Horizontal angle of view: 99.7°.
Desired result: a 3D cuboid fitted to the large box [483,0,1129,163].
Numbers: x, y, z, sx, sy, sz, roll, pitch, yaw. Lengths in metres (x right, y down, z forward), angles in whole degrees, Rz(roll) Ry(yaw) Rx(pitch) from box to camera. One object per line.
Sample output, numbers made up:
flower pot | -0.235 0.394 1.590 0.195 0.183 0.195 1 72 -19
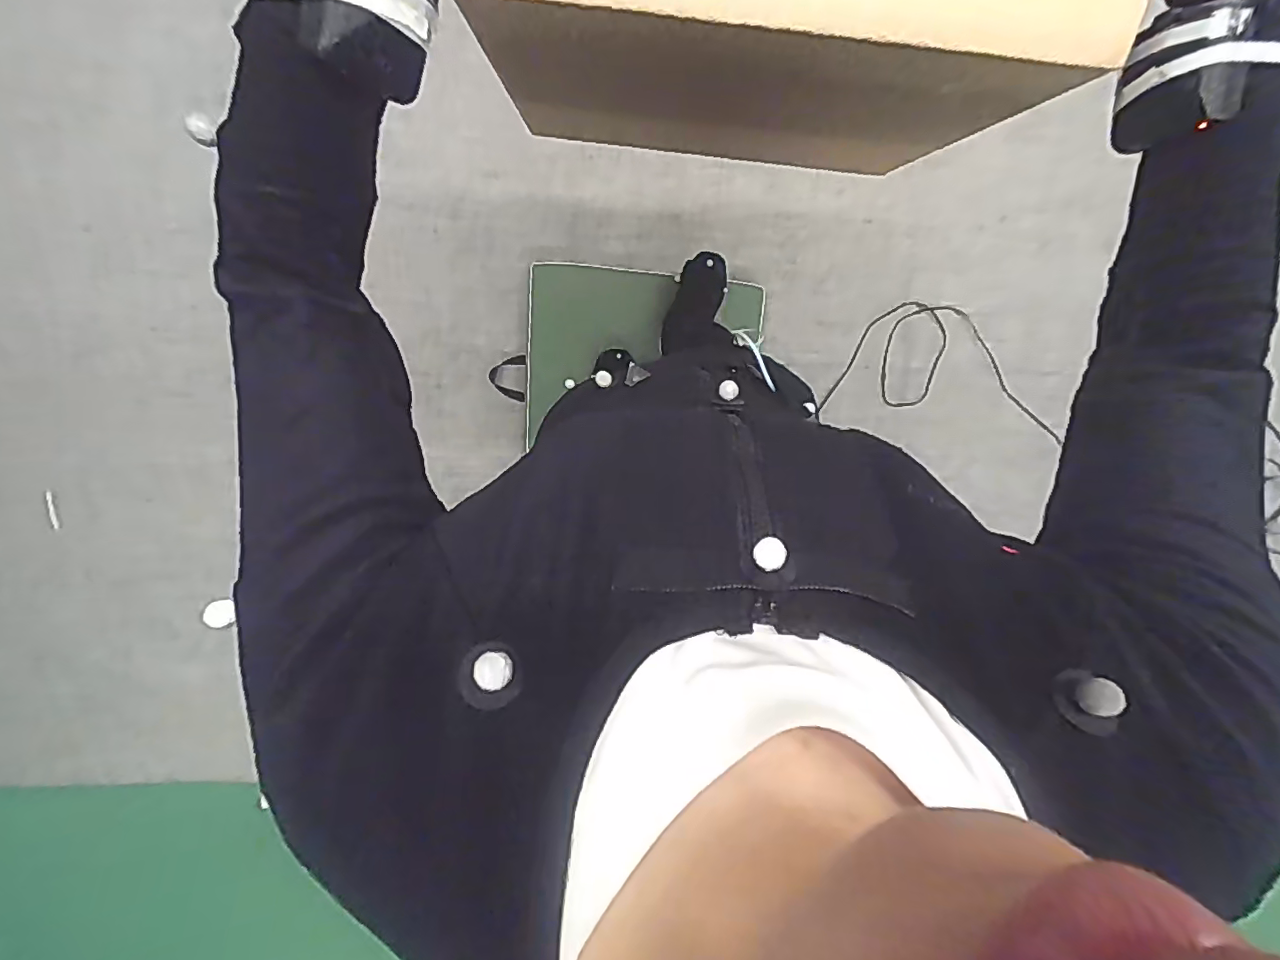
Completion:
large box | 0.099 -0.466 0.415 0.408 0.320 0.320 3 109 -4
